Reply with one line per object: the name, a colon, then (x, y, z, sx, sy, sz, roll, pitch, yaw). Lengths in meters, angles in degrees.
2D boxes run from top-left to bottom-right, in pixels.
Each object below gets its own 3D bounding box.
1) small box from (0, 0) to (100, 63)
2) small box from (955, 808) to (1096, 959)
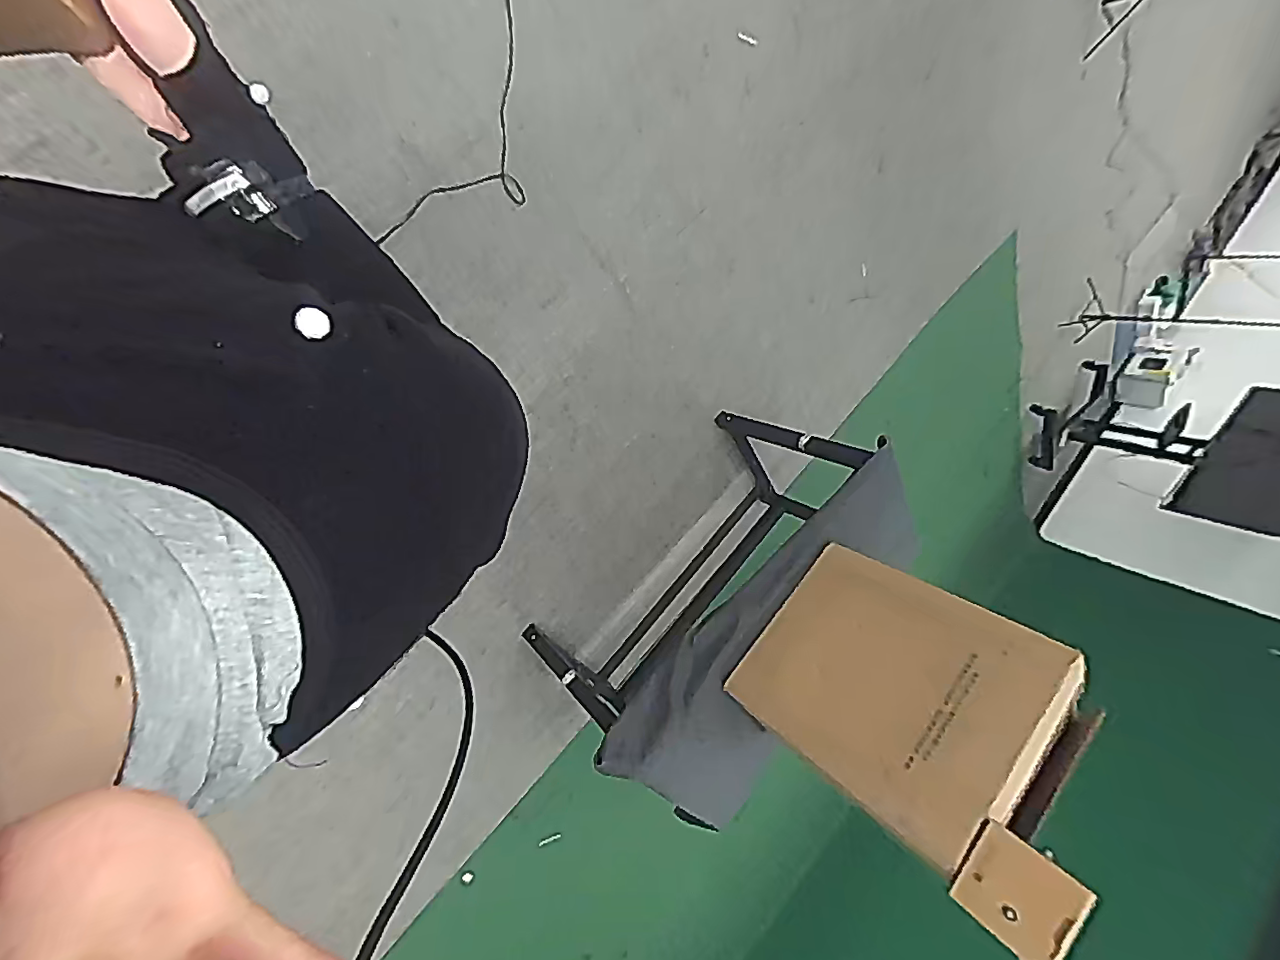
small box: (-0.387, -0.289, 0.212, 0.168, 0.176, 0.179, -20, 113, -16)
small box: (0.735, 0.766, 1.037, 0.168, 0.176, 0.179, -54, 131, -7)
